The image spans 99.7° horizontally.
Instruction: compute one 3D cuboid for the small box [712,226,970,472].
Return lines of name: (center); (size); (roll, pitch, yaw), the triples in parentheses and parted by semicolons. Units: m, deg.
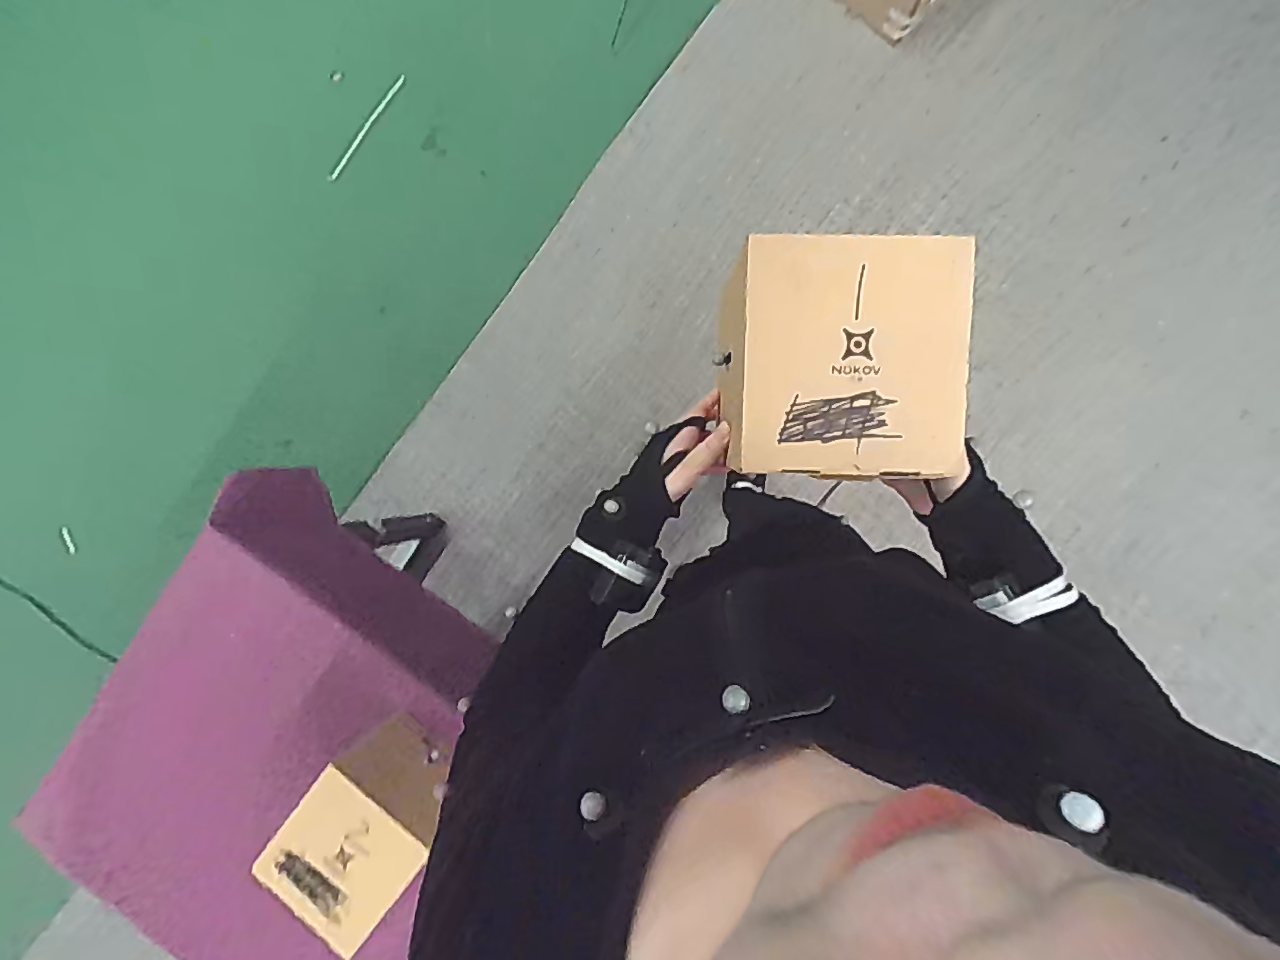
small box: (0.155, -0.101, 0.475); (0.168, 0.176, 0.179); (2, 93, 2)
